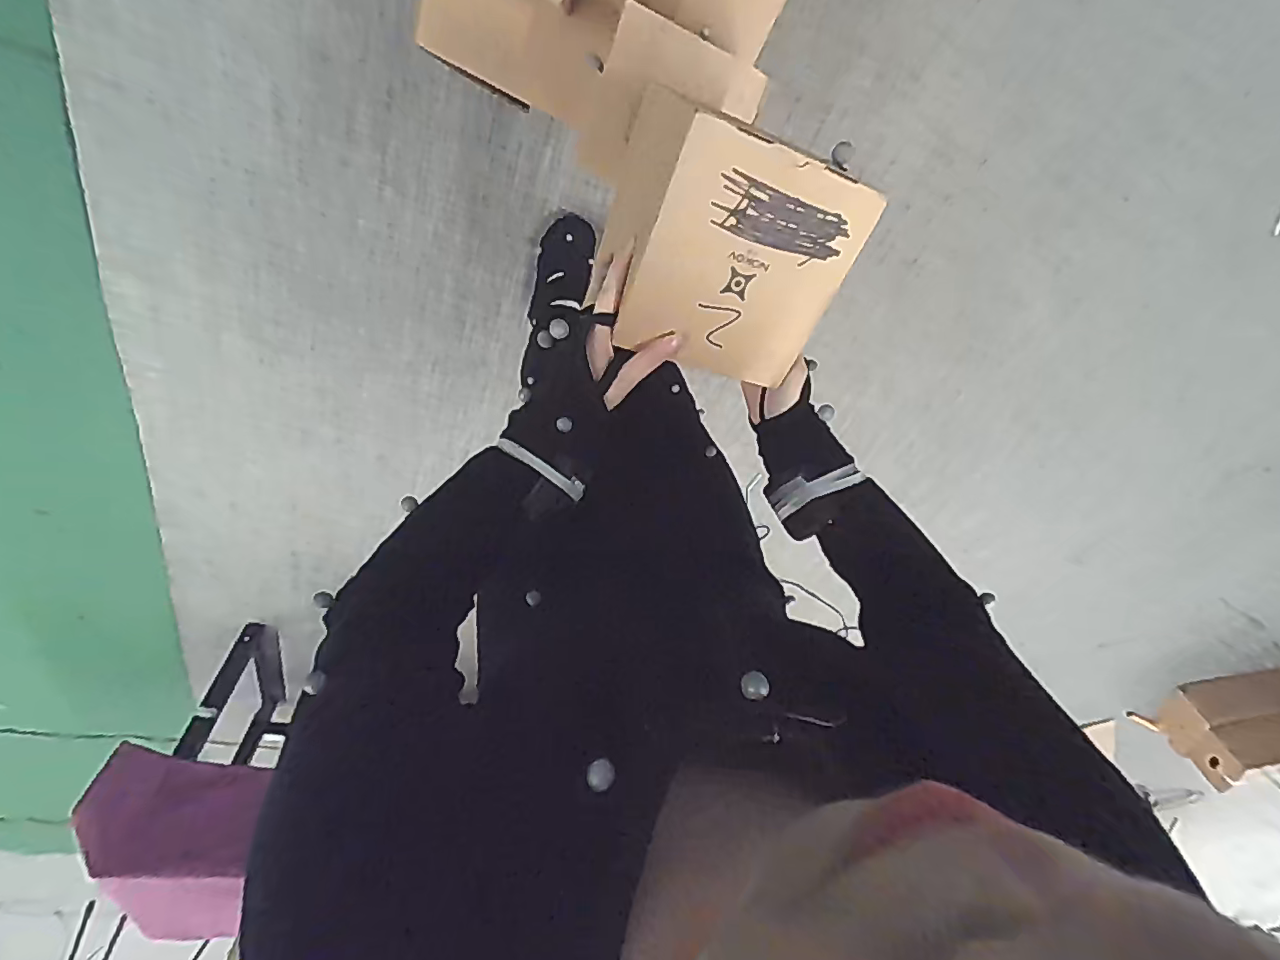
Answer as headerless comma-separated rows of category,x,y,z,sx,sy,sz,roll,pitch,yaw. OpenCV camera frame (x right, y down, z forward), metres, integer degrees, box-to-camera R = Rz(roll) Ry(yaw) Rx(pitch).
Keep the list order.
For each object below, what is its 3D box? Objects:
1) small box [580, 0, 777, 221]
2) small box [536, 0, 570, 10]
small box,0.034,-0.452,0.664,0.179,0.176,0.168,15,126,-17
small box,-0.123,-0.604,0.525,0.168,0.176,0.179,16,125,-17
